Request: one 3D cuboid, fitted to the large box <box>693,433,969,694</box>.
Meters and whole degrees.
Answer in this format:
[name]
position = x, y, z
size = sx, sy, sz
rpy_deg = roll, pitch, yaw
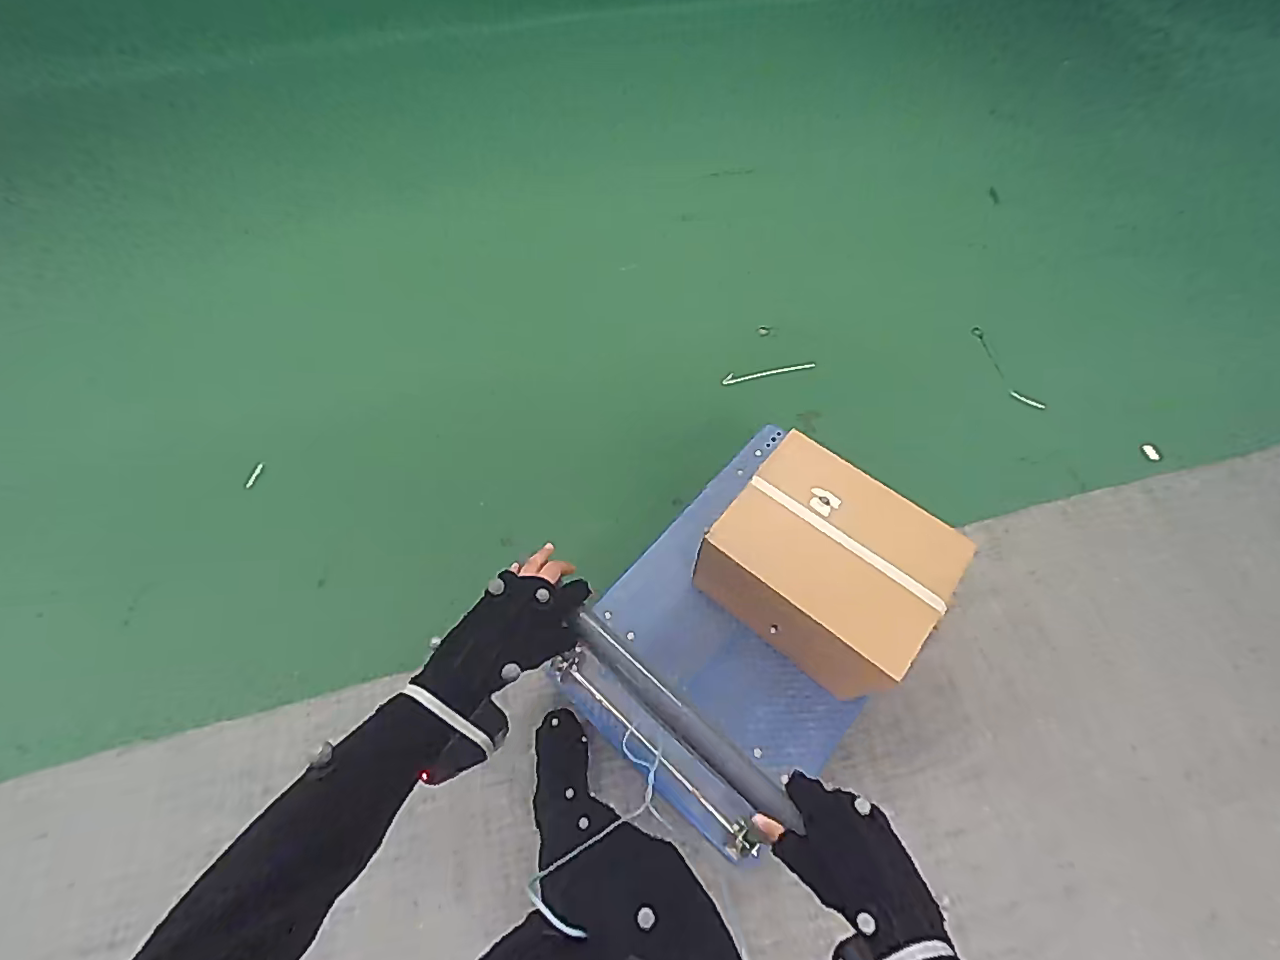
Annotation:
[large box]
position = 0.364, 0.183, 1.132
size = 0.408, 0.320, 0.320
rpy_deg = 36, 68, 19
